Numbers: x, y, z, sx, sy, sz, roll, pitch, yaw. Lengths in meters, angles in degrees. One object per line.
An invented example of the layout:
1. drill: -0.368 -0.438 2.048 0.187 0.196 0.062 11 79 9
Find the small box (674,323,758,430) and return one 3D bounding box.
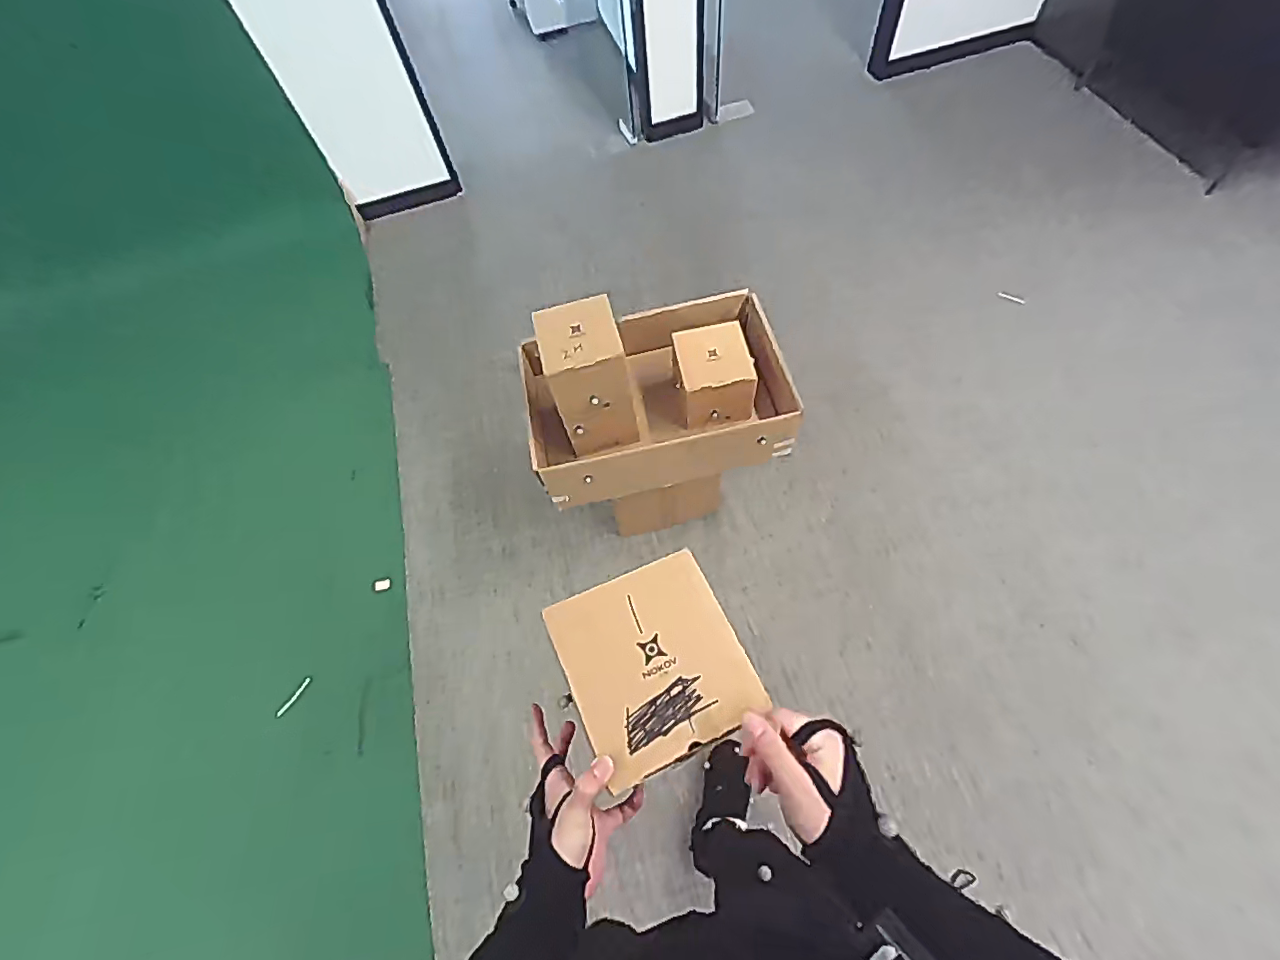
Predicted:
1. small box: 0.177 -0.249 1.318 0.168 0.176 0.179 -11 63 0

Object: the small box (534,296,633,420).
1. small box: -0.119 -0.260 1.166 0.168 0.176 0.179 -15 62 -1

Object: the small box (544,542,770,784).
1. small box: 0.008 0.196 0.578 0.168 0.176 0.179 -20 65 -15
